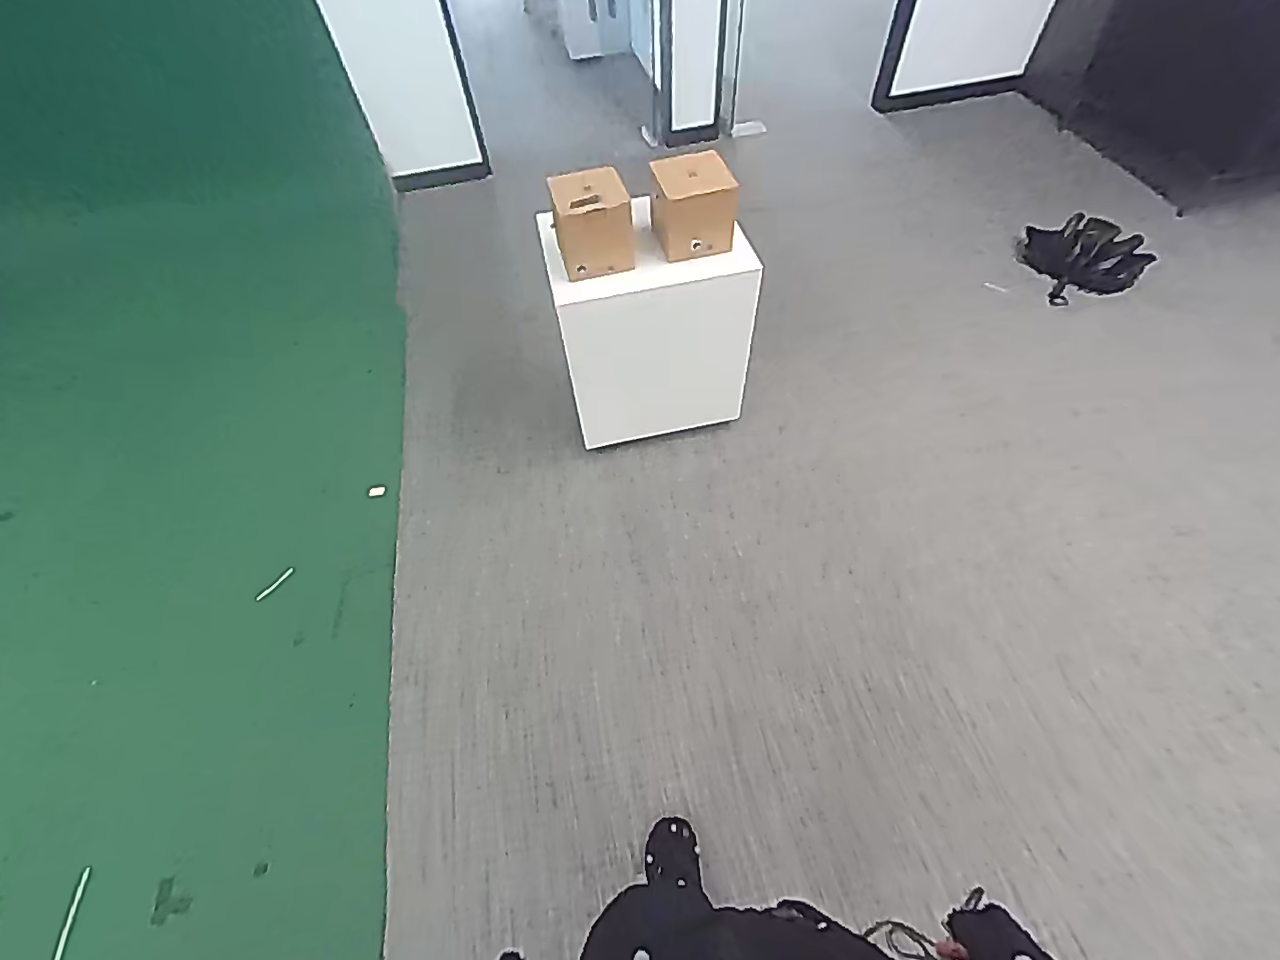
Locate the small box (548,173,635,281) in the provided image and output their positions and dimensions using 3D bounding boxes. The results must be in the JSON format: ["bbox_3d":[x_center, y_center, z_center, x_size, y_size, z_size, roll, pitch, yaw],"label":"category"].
[{"bbox_3d":[-0.113,-0.597,1.294,0.168,0.176,0.179,-14,55,-6],"label":"small box"}]

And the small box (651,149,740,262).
[{"bbox_3d":[0.127,-0.657,1.302,0.168,0.176,0.179,-14,58,-5],"label":"small box"}]
